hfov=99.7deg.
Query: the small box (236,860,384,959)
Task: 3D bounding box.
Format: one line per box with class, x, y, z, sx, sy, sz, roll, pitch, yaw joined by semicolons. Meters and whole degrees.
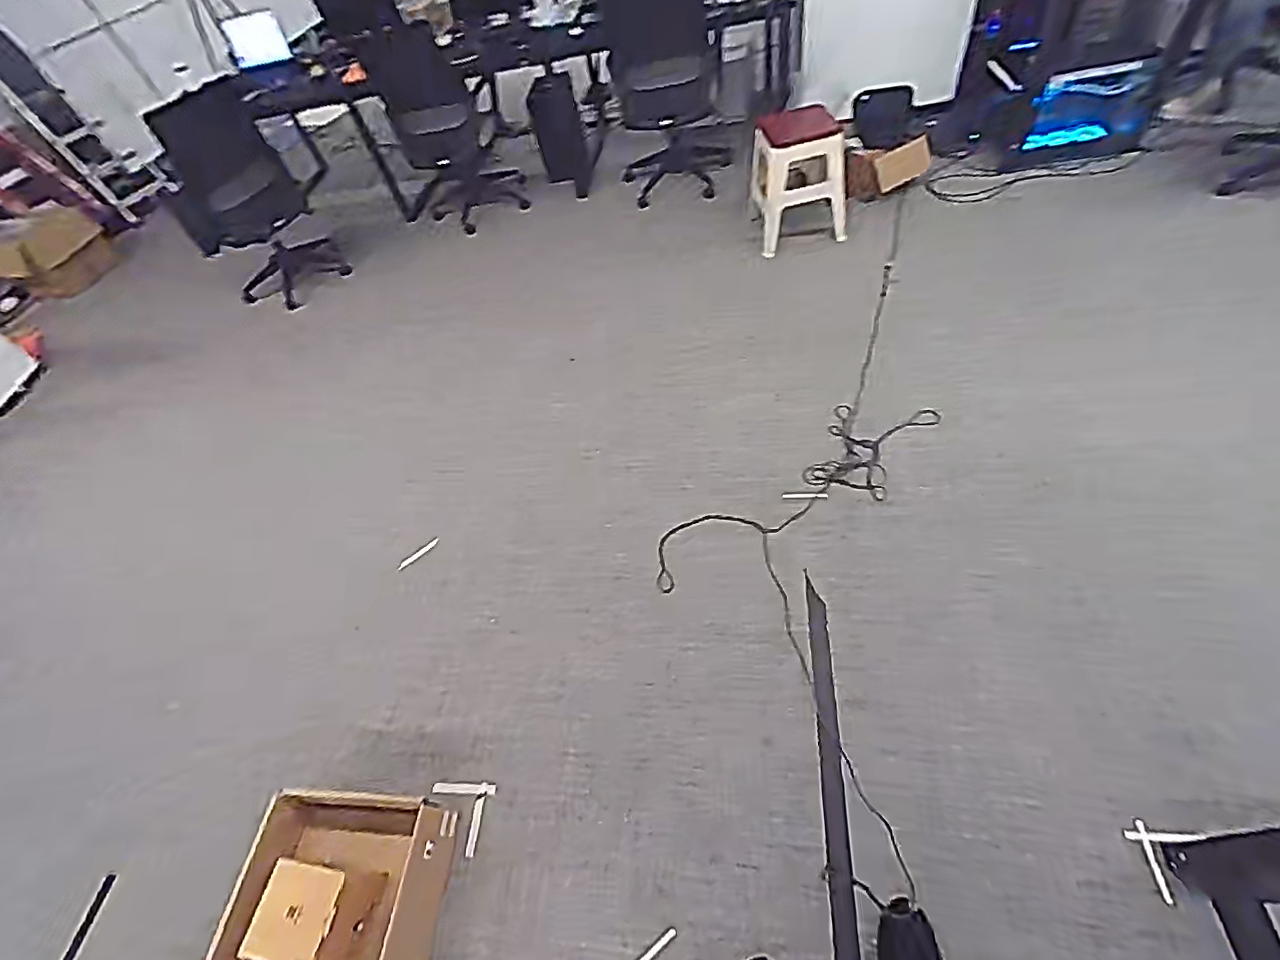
small box;-0.704;0.945;1.174;0.179;0.176;0.168;2;54;14
